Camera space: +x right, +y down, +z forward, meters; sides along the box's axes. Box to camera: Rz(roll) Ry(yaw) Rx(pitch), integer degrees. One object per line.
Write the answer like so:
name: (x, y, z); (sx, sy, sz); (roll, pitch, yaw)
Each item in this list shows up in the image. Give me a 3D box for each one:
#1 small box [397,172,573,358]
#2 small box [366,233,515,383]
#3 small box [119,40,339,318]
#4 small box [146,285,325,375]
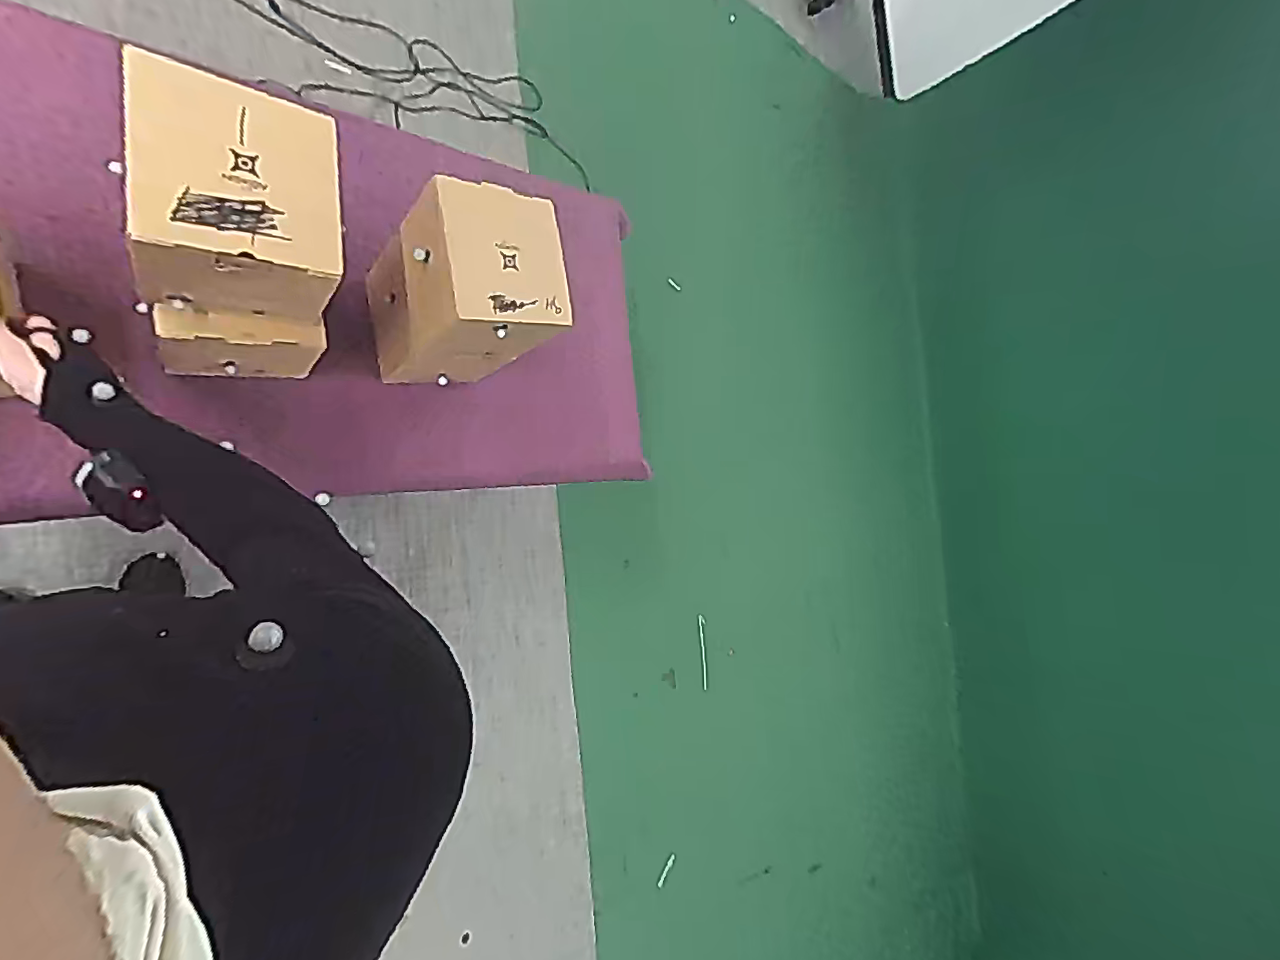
small box: (-0.218, -0.279, 0.746); (0.168, 0.176, 0.179); (-10, 91, -40)
small box: (-0.324, -0.263, 0.870); (0.168, 0.176, 0.179); (-9, 91, -40)
small box: (-0.428, -0.287, 0.570); (0.168, 0.176, 0.179); (-2, 86, -41)
small box: (-0.526, -0.243, 0.699); (0.168, 0.176, 0.179); (-8, 91, -41)
